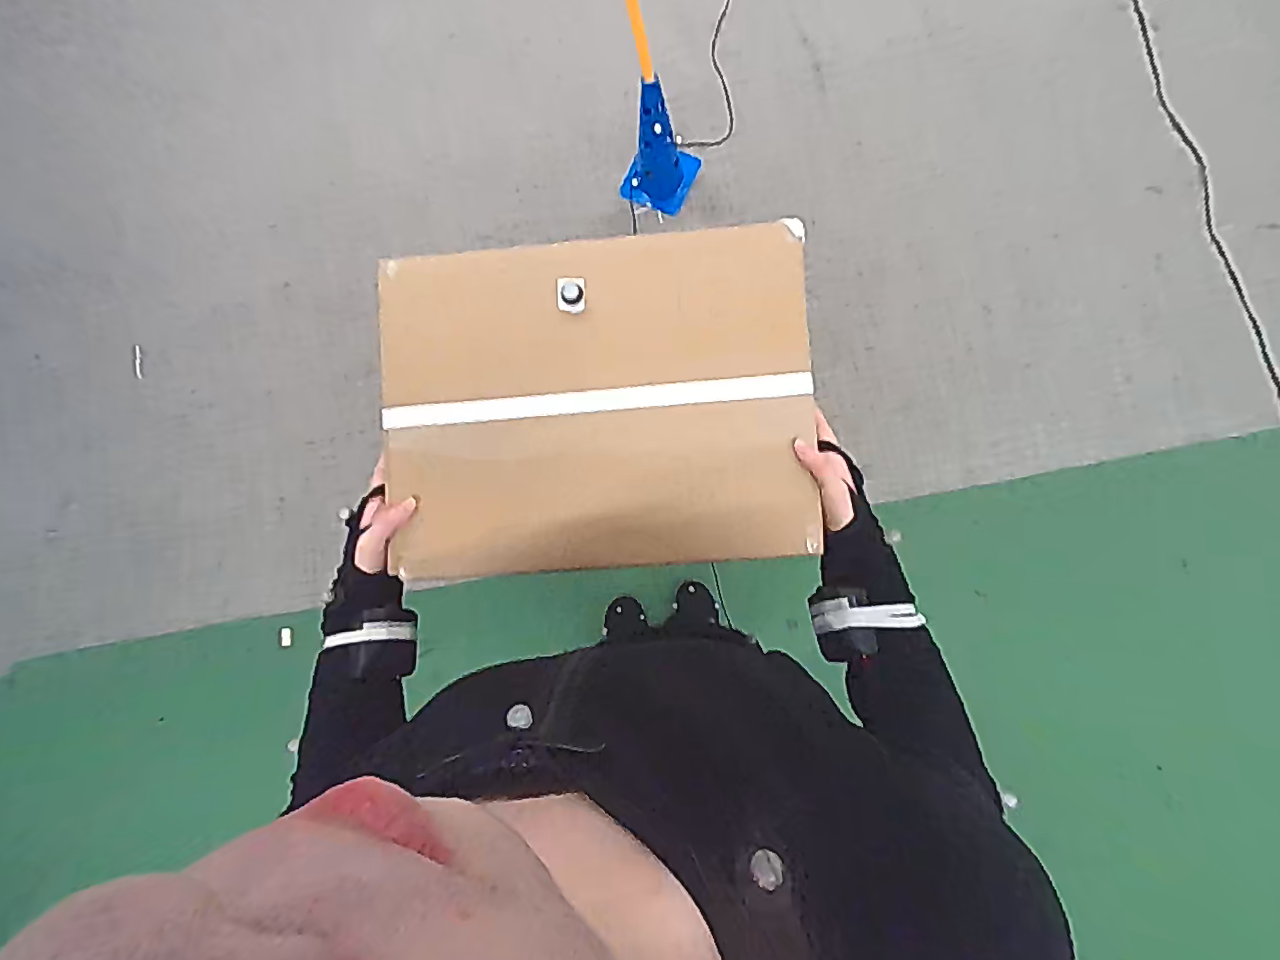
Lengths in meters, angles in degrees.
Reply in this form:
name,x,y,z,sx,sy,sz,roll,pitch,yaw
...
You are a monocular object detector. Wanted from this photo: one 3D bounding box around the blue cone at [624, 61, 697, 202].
name,x,y,z,sx,sy,sz,roll,pitch,yaw
blue cone,0.043,-0.945,1.448,0.192,0.380,0.193,22,87,8
